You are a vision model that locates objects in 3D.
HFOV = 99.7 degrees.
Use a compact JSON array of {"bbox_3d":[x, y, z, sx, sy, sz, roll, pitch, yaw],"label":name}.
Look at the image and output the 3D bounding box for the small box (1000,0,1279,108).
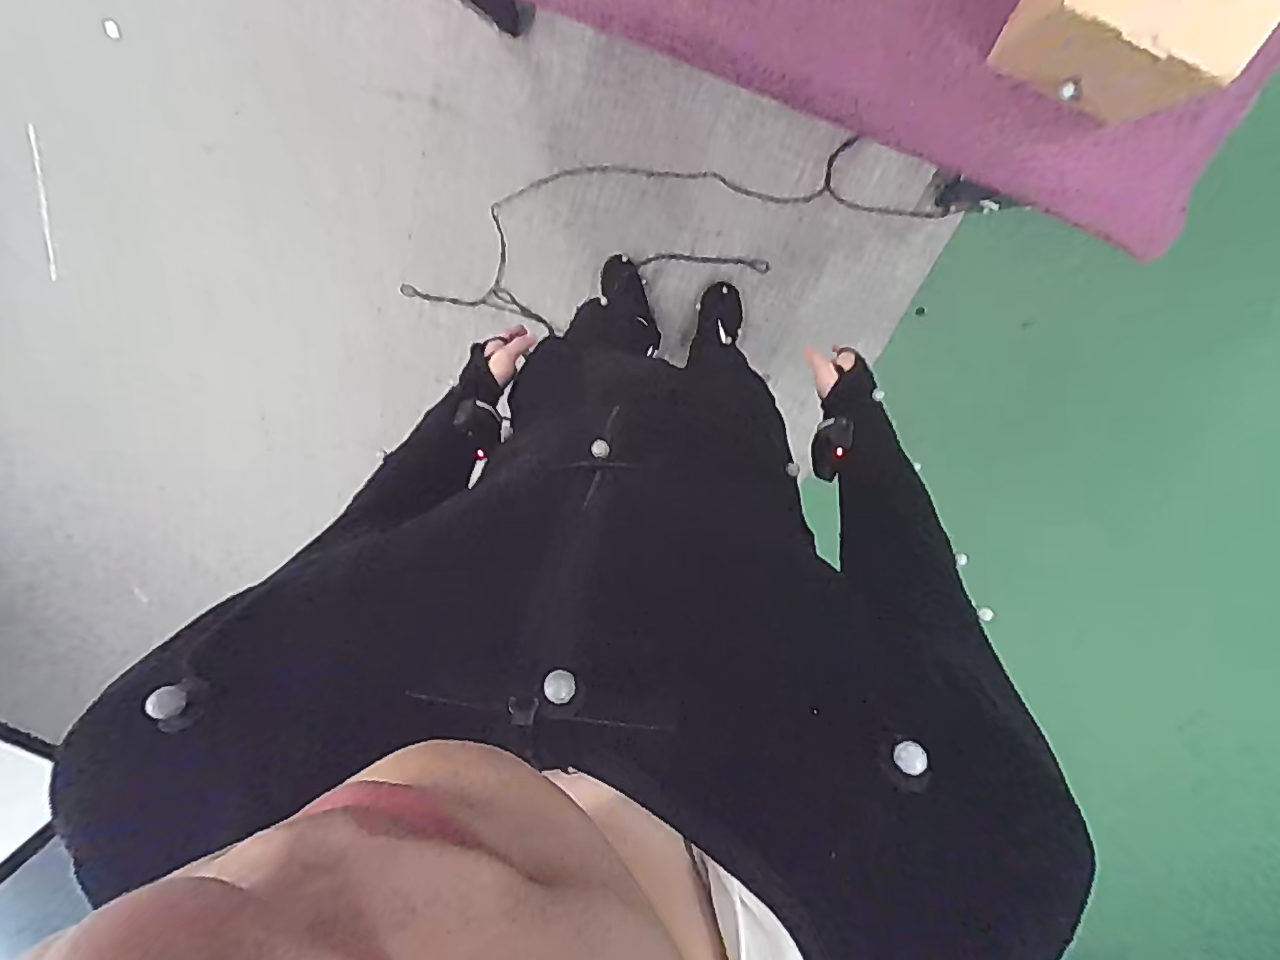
[{"bbox_3d":[0.479,-0.484,0.494,0.168,0.176,0.179,26,116,0],"label":"small box"}]
